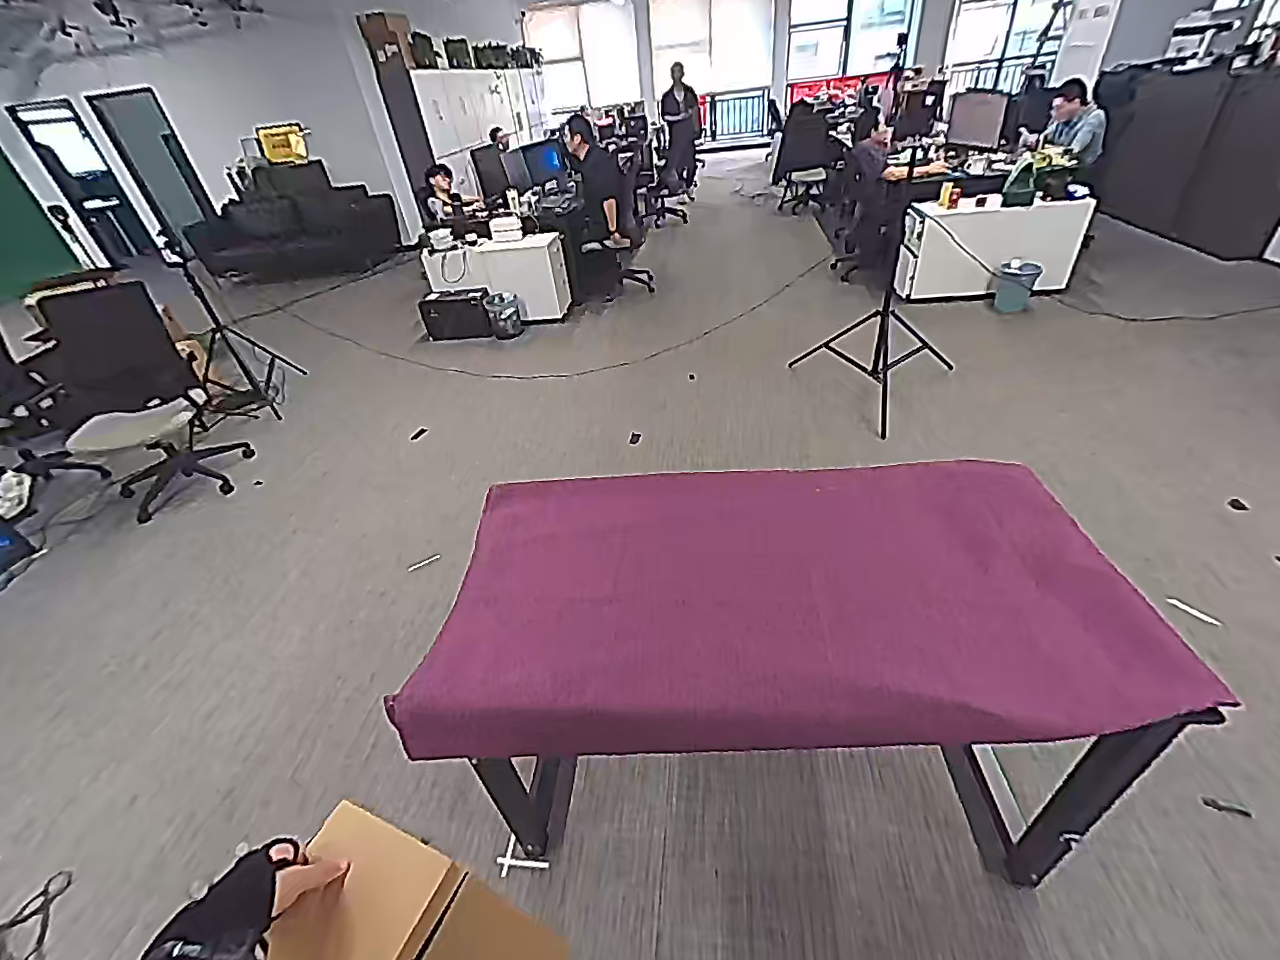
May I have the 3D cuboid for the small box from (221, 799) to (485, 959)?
[{"bbox_3d":[-0.296,0.498,0.600,0.179,0.176,0.168,19,45,16],"label":"small box"}]
